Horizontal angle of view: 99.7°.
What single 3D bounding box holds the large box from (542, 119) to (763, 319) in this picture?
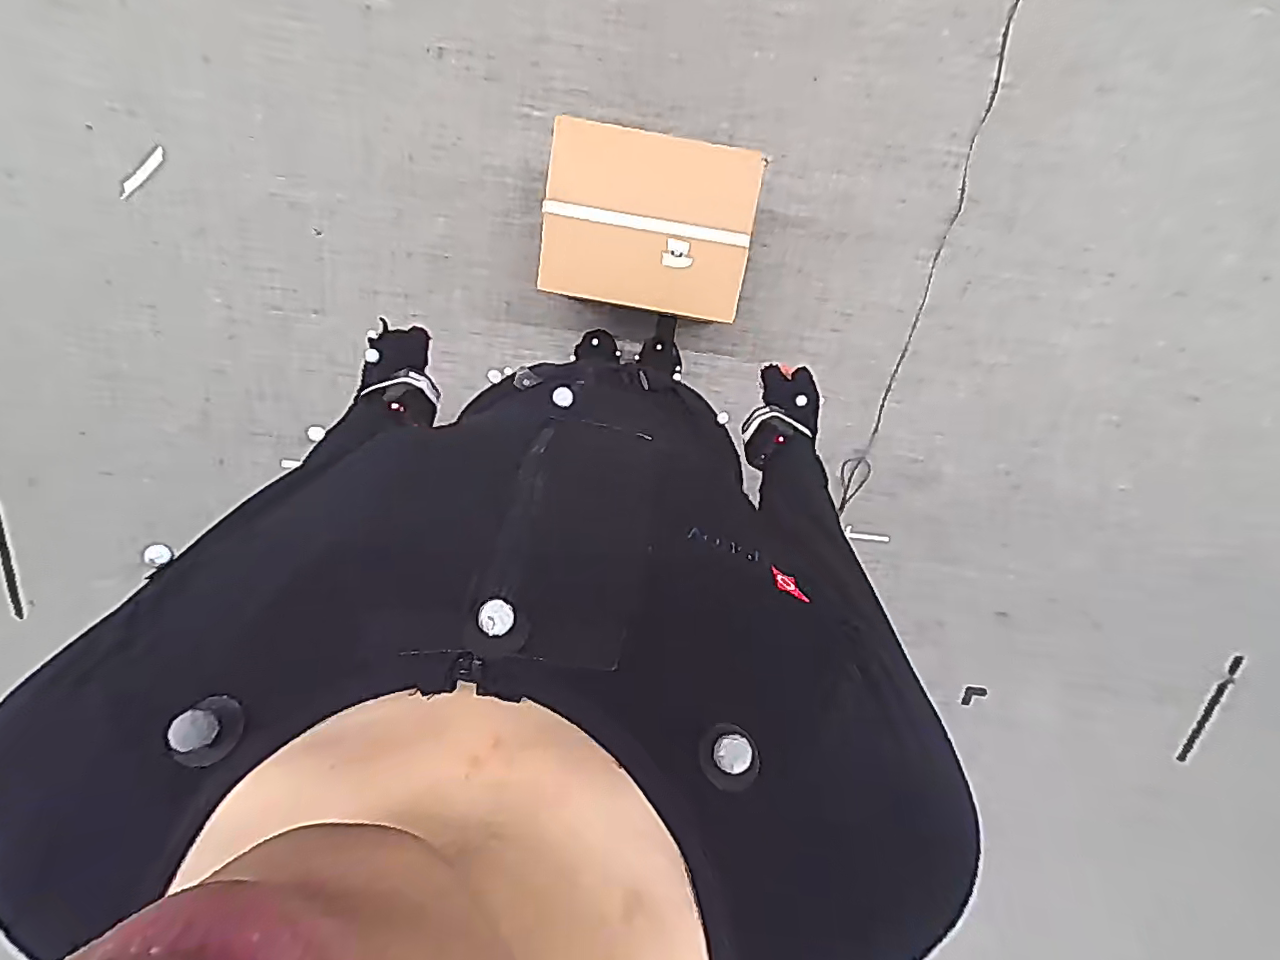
[{"bbox_3d":[0.016,-0.546,1.202,0.408,0.320,0.320,9,107,-2],"label":"large box"}]
